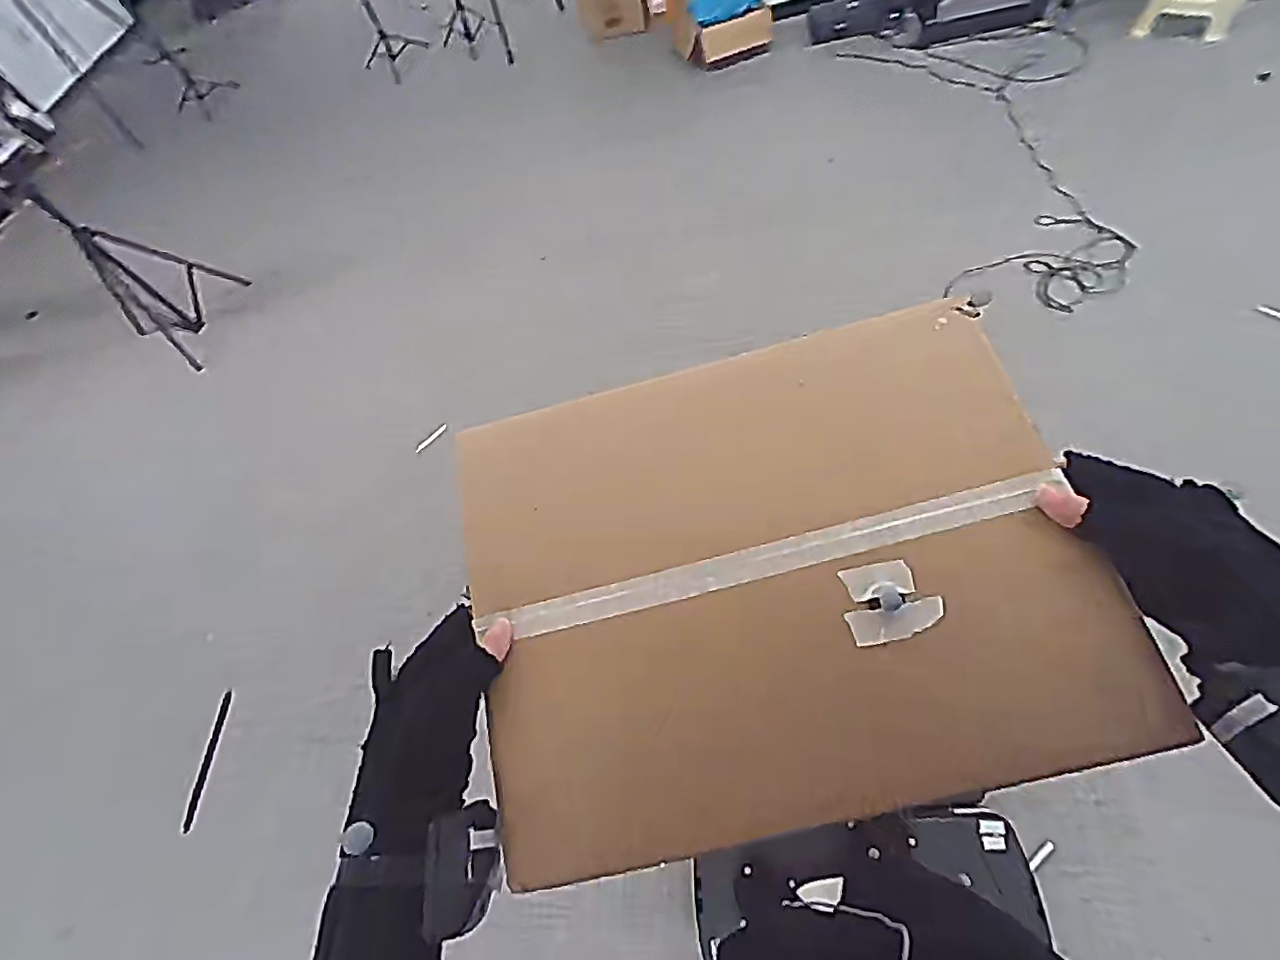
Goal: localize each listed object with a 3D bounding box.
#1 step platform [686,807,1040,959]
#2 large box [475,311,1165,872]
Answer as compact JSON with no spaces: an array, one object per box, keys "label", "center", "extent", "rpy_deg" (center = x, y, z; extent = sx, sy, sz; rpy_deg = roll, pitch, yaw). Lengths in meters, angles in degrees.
[{"label":"step platform","center":[0.441,0.885,1.167],"extent":[0.684,0.204,0.286],"rpy_deg":[-9,59,10]},{"label":"large box","center":[0.108,0.106,0.519],"extent":[0.408,0.320,0.320],"rpy_deg":[-15,70,3]}]
